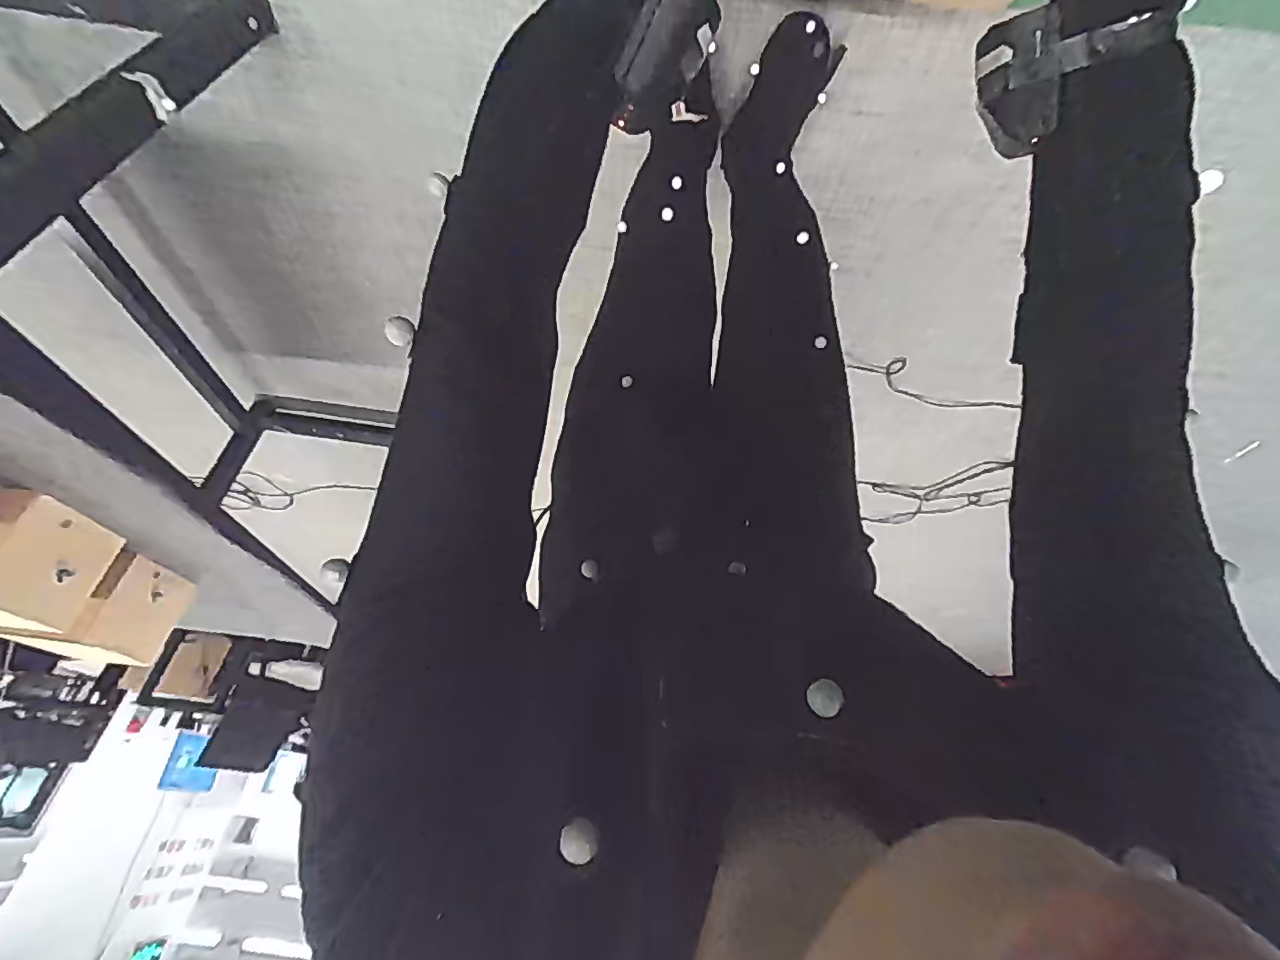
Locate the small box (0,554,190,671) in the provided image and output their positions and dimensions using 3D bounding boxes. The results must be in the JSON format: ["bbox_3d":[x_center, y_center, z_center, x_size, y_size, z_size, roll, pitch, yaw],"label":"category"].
[{"bbox_3d":[-1.005,0.238,1.000,0.179,0.176,0.168,6,148,2],"label":"small box"}]

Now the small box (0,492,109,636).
[{"bbox_3d":[-0.968,0.121,0.812,0.179,0.176,0.168,7,148,2],"label":"small box"}]
